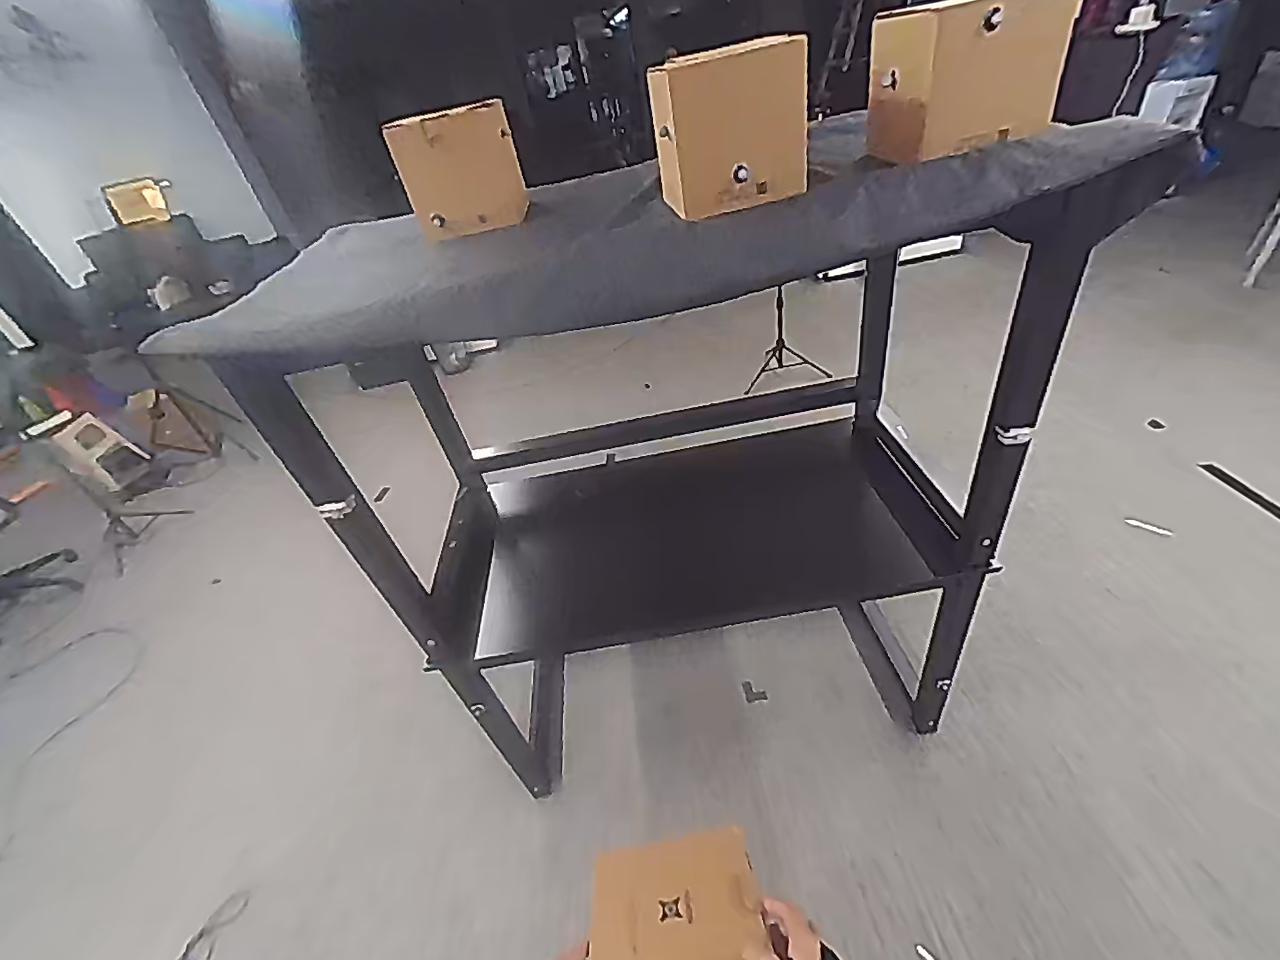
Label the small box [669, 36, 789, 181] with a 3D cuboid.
[{"bbox_3d":[0.145,-0.613,0.901,0.168,0.176,0.179,-11,37,4],"label":"small box"}]

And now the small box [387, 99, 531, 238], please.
[{"bbox_3d":[-0.293,-0.525,0.919,0.168,0.176,0.179,-10,37,3],"label":"small box"}]

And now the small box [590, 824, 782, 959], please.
[{"bbox_3d":[0.051,0.503,0.556,0.179,0.176,0.168,-11,12,0],"label":"small box"}]
